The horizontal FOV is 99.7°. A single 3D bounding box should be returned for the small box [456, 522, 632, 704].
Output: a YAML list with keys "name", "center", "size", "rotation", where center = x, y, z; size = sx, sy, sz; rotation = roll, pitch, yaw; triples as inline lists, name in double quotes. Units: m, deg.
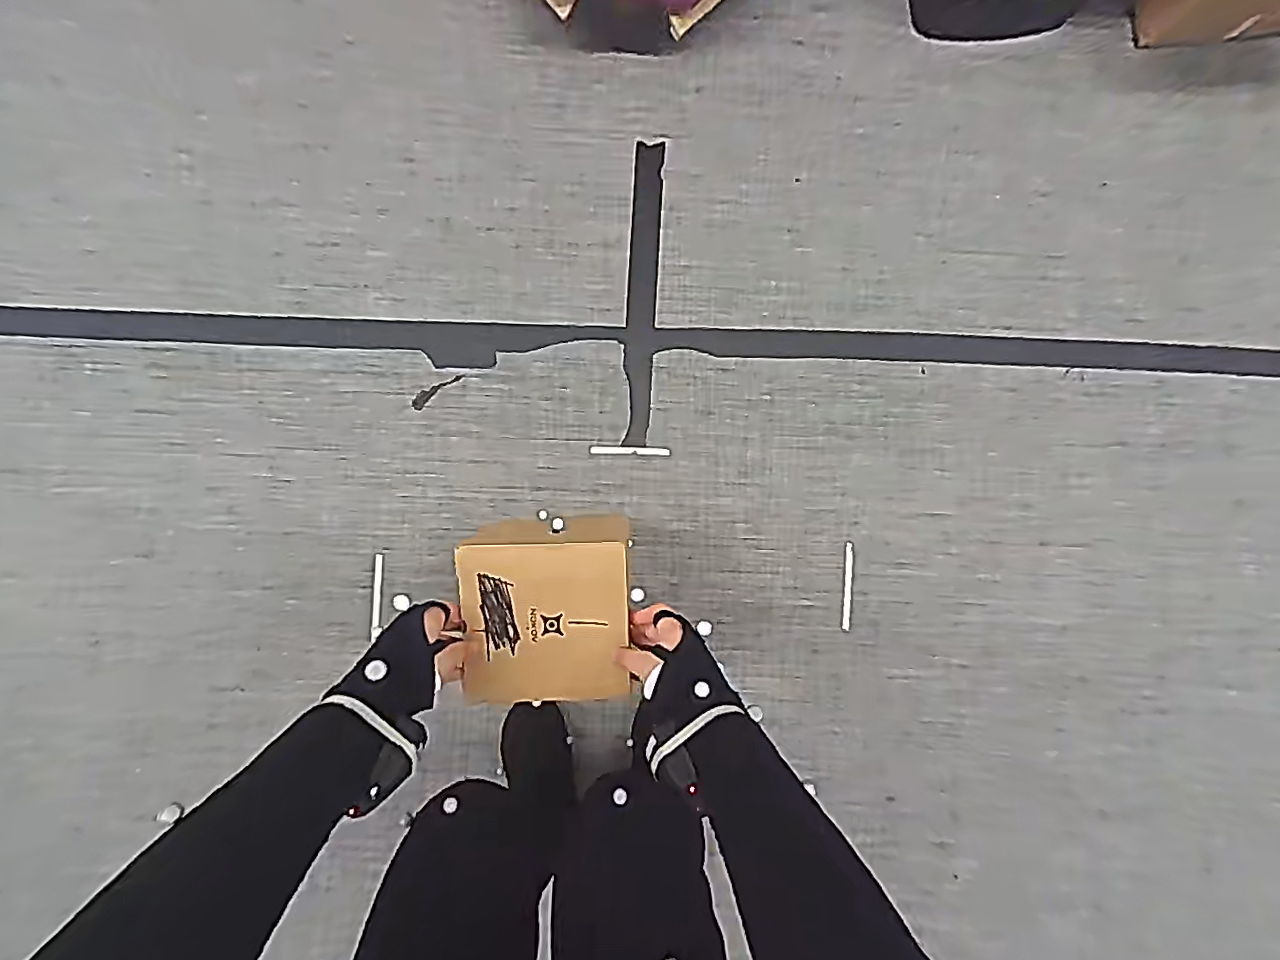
- name: "small box"
  center: [-0.099, 0.143, 0.631]
  size: [0.179, 0.176, 0.168]
  rotation: [-1, 95, -1]
